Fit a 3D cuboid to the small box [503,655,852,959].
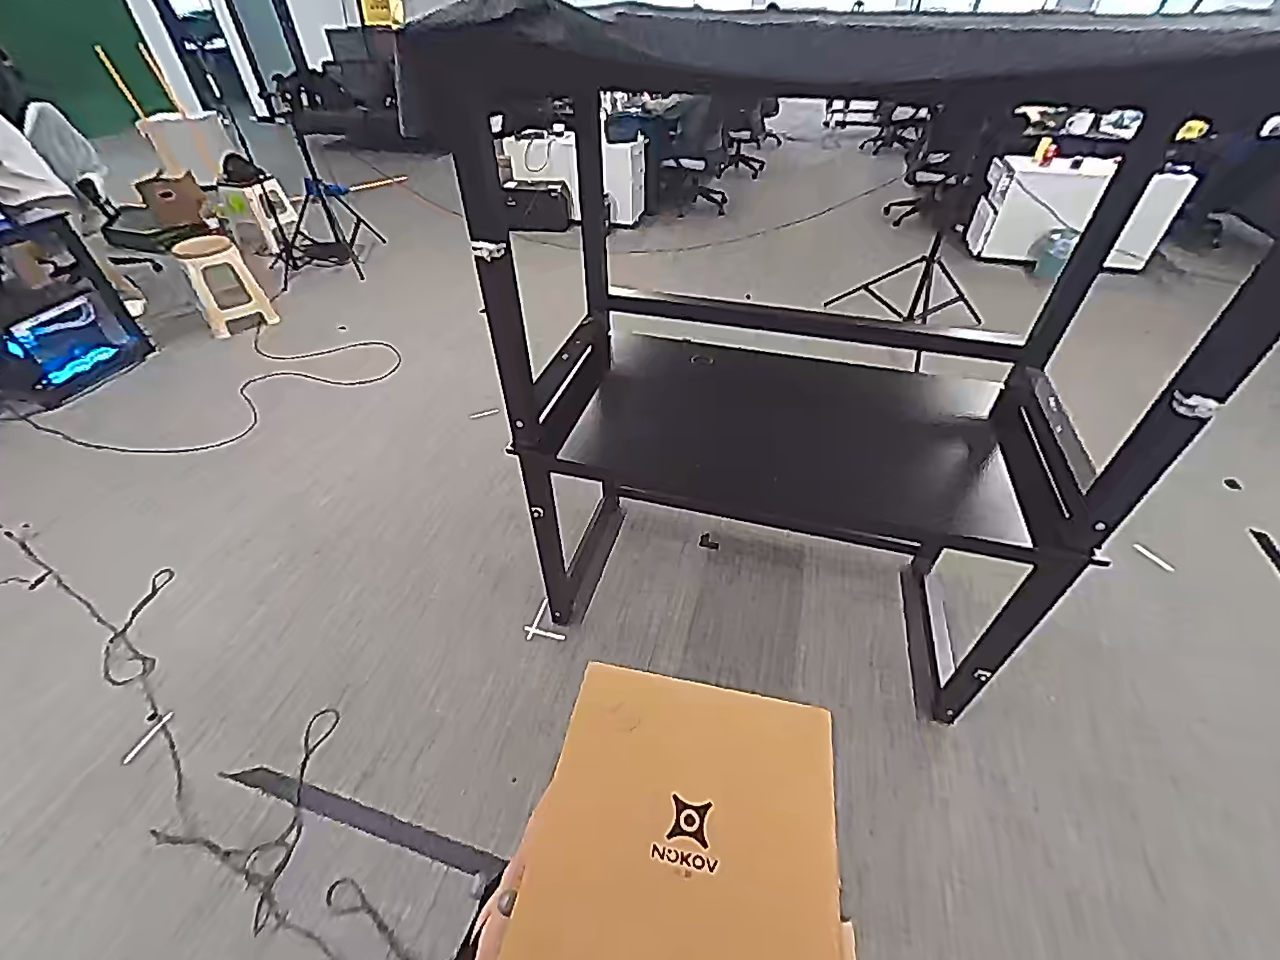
[{"bbox_3d":[0.028,0.248,0.354,0.168,0.176,0.179,9,43,8],"label":"small box"}]
